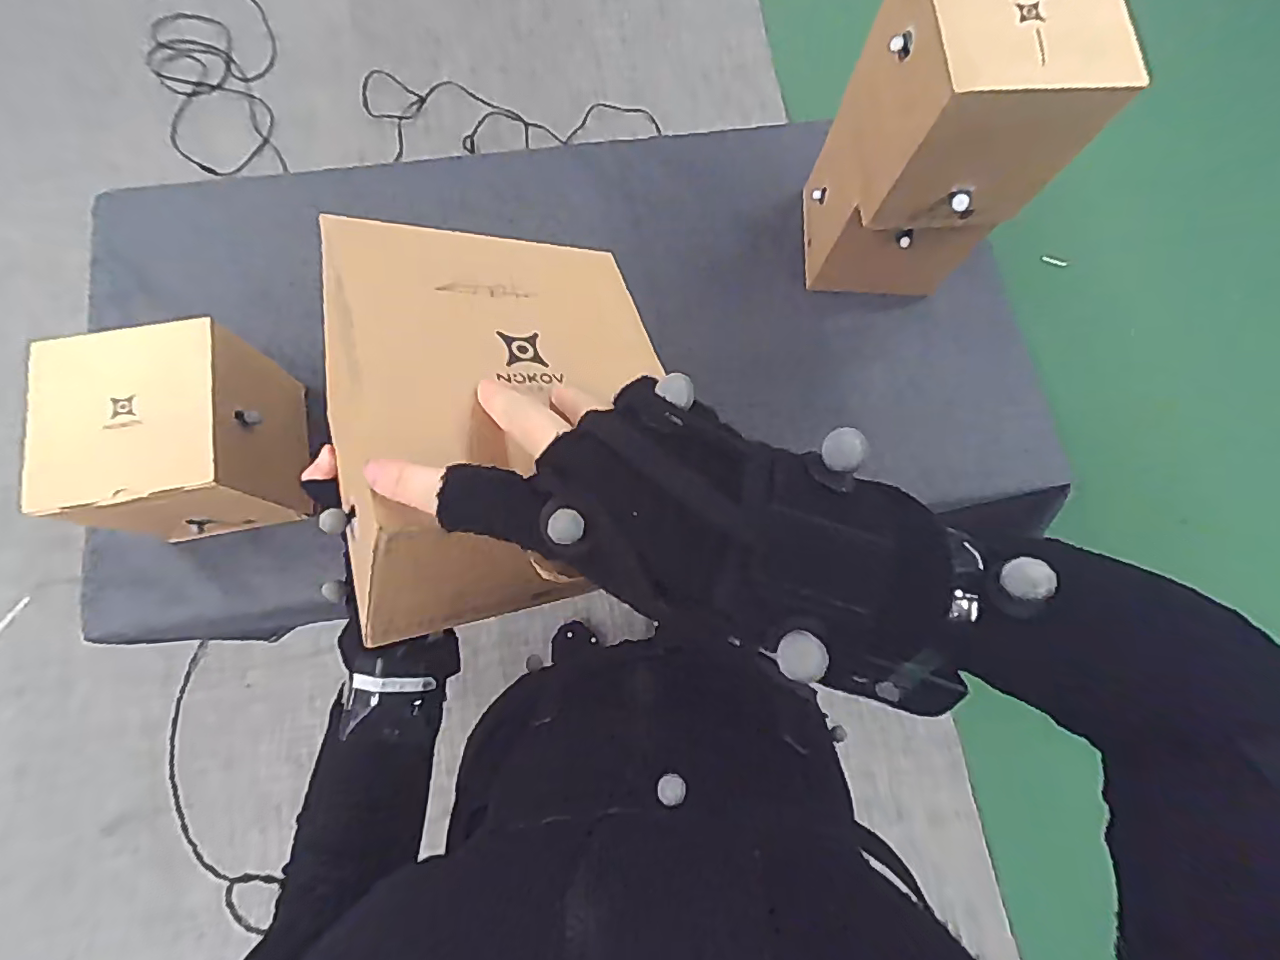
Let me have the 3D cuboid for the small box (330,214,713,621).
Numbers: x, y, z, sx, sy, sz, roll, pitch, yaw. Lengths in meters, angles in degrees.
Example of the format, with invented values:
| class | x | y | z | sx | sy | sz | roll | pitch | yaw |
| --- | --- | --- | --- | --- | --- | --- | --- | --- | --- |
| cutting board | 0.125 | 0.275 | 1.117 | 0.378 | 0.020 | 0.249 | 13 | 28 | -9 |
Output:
| class | x | y | z | sx | sy | sz | roll | pitch | yaw |
| --- | --- | --- | --- | --- | --- | --- | --- | --- | --- |
| small box | -0.089 | -0.024 | 0.337 | 0.168 | 0.176 | 0.179 | -6 | 64 | -33 |

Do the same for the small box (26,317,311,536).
| class | x | y | z | sx | sy | sz | roll | pitch | yaw |
| --- | --- | --- | --- | --- | --- | --- | --- | --- | --- |
| small box | -0.485 | -0.048 | 0.585 | 0.168 | 0.176 | 0.179 | -11 | 77 | -5 |

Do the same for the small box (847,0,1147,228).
| class | x | y | z | sx | sy | sz | roll | pitch | yaw |
| --- | --- | --- | --- | --- | --- | --- | --- | --- | --- |
| small box | 0.321 | -0.378 | 0.530 | 0.168 | 0.176 | 0.179 | -3 | 78 | -2 |

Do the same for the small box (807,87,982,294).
| class | x | y | z | sx | sy | sz | roll | pitch | yaw |
| --- | --- | --- | --- | --- | --- | --- | --- | --- | --- |
| small box | 0.322 | -0.358 | 0.694 | 0.179 | 0.176 | 0.168 | 3 | 77 | -2 |
